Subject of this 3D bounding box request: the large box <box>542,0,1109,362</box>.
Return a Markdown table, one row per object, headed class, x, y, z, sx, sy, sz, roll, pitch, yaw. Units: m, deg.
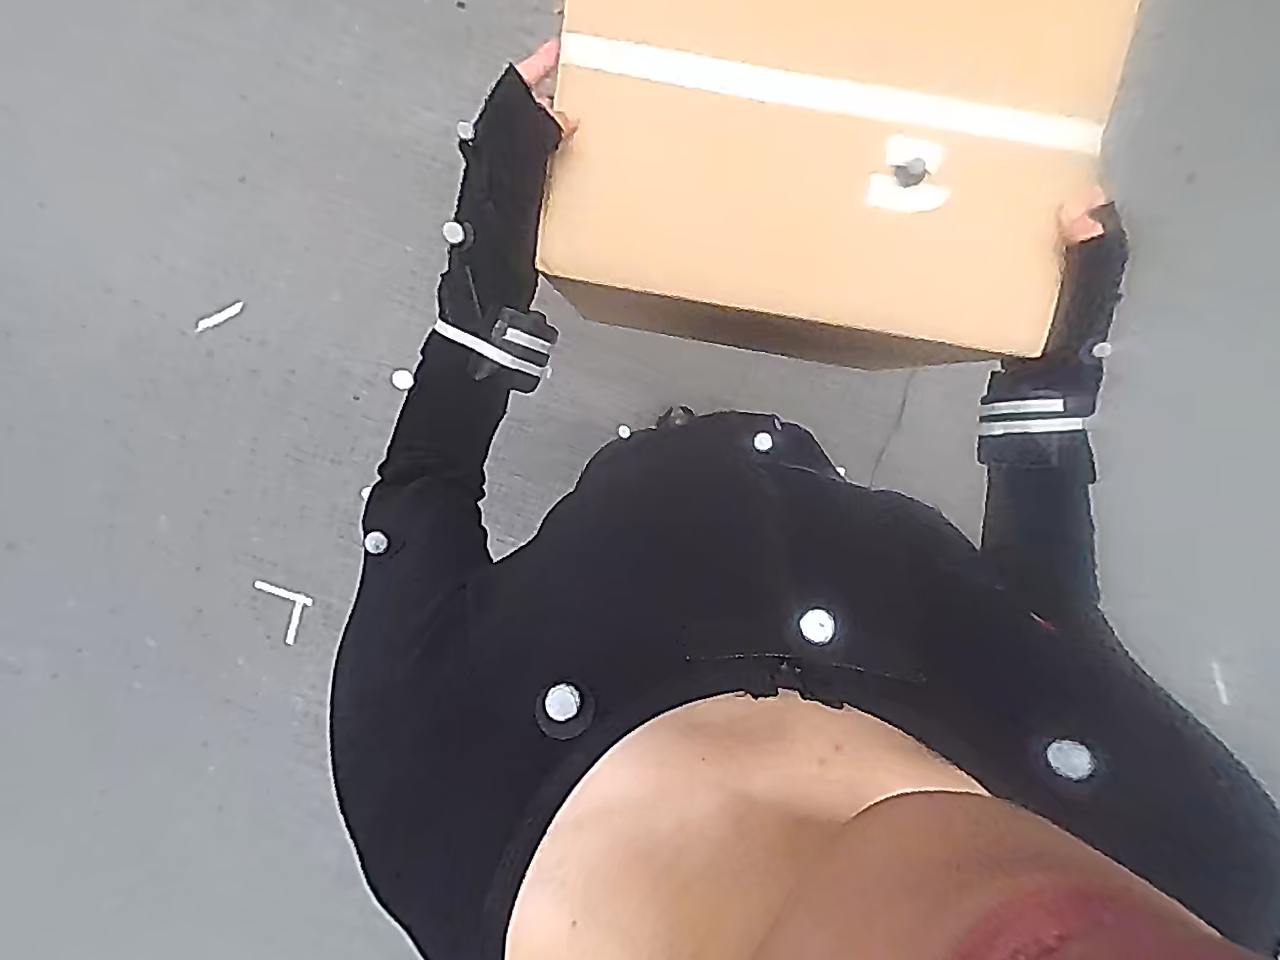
| class | x | y | z | sx | sy | sz | roll | pitch | yaw |
| --- | --- | --- | --- | --- | --- | --- | --- | --- | --- |
| large box | 0.136 | -0.312 | 0.558 | 0.408 | 0.320 | 0.320 | 9 | 99 | -1 |
